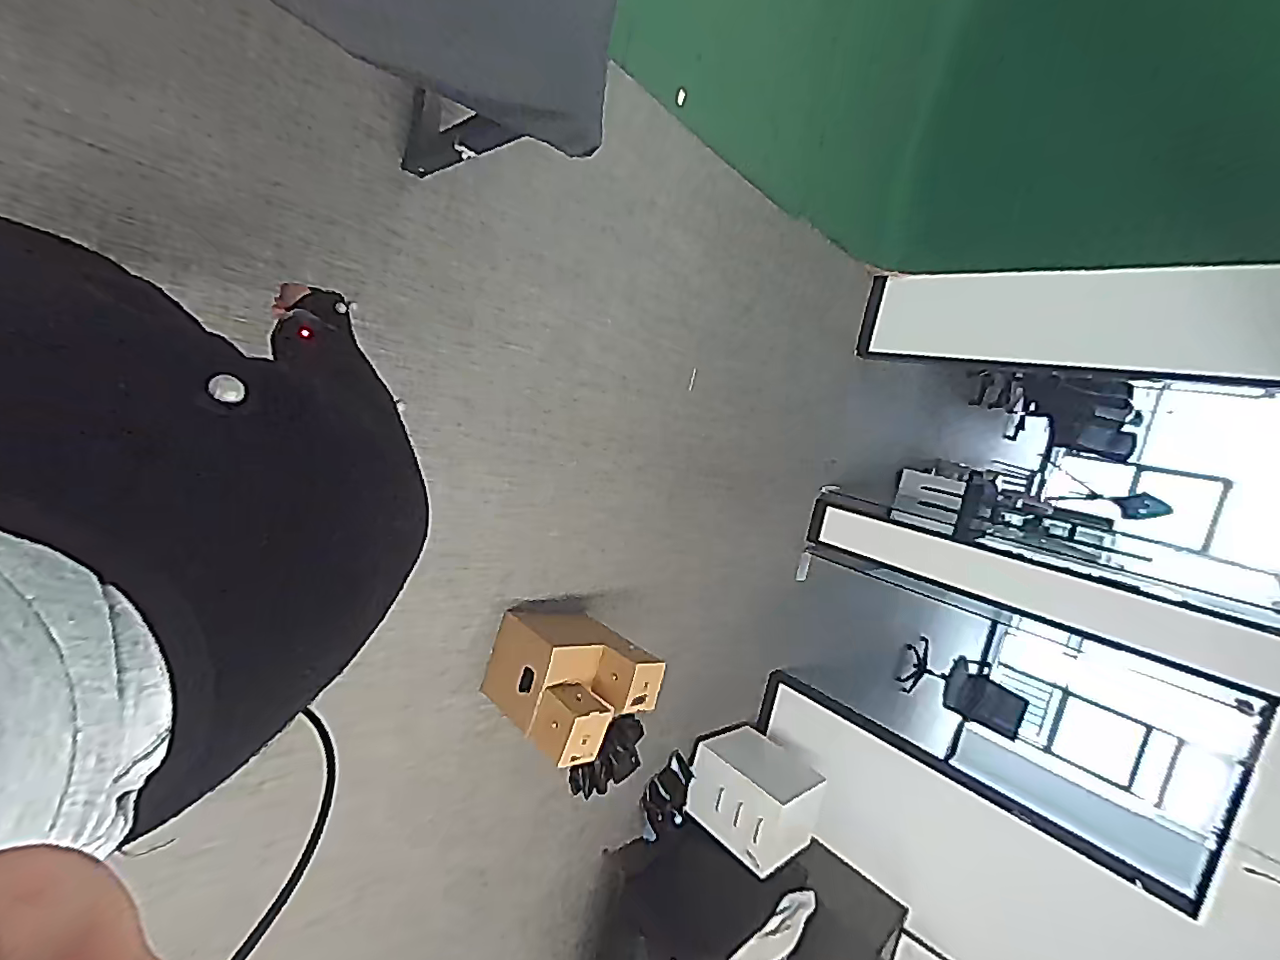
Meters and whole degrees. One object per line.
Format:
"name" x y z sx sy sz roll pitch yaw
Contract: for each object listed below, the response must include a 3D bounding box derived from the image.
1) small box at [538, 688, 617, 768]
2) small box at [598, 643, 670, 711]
"small box" -0.210 0.799 1.770 0.168 0.176 0.179 17 91 -48
"small box" -0.026 0.697 1.928 0.168 0.176 0.179 18 87 -47
